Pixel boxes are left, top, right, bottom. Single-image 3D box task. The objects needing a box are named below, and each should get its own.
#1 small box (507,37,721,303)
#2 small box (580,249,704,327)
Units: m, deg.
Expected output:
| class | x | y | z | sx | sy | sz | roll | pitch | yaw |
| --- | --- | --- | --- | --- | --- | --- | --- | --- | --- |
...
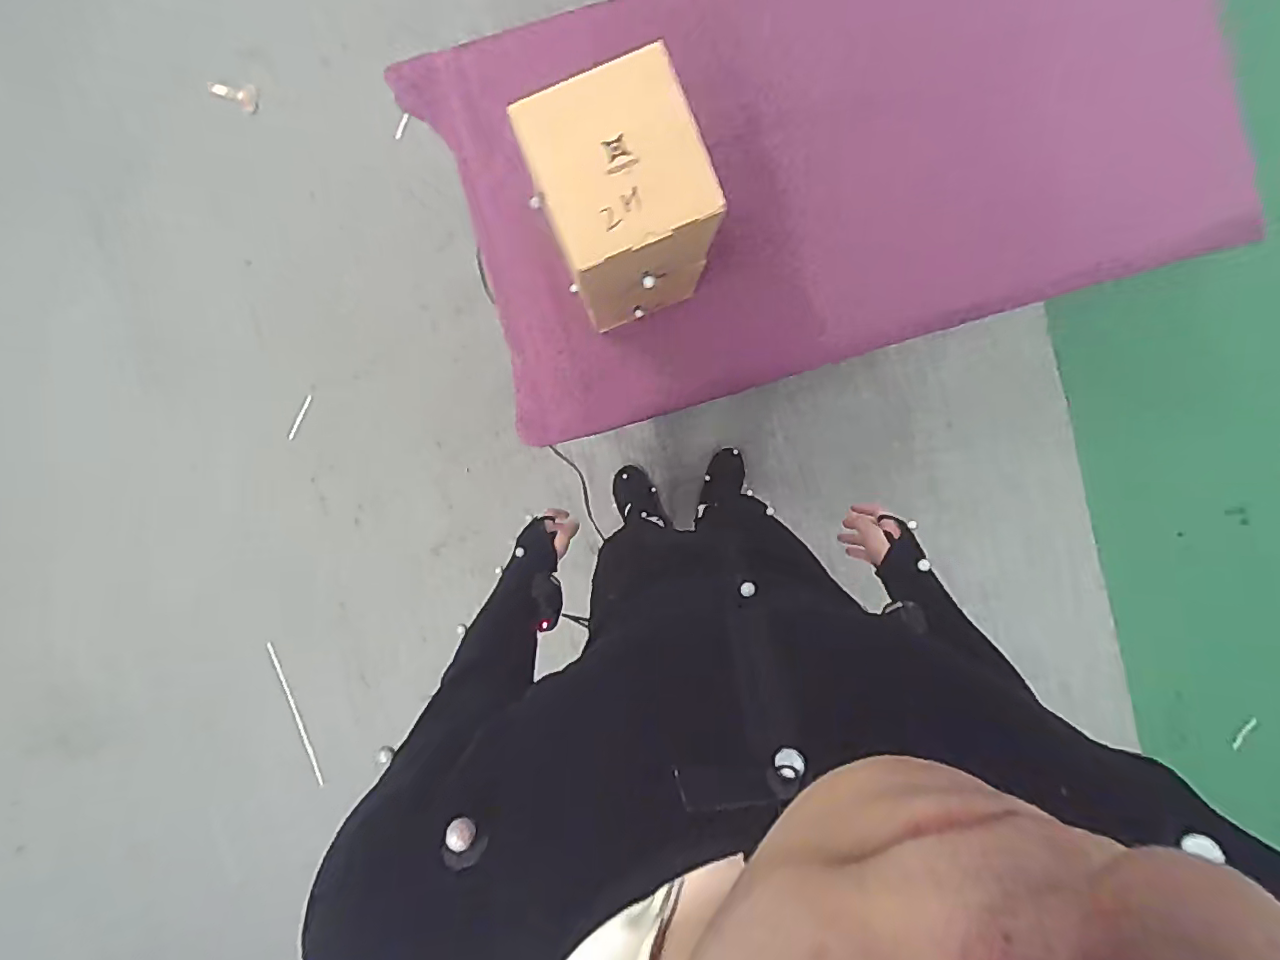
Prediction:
| class | x | y | z | sx | sy | sz | roll | pitch | yaw |
| --- | --- | --- | --- | --- | --- | --- | --- | --- | --- |
| small box | -0.028 | -0.327 | 0.610 | 0.168 | 0.176 | 0.179 | -23 | 95 | 1 |
| small box | -0.026 | -0.342 | 0.774 | 0.168 | 0.176 | 0.179 | -22 | 95 | 0 |
